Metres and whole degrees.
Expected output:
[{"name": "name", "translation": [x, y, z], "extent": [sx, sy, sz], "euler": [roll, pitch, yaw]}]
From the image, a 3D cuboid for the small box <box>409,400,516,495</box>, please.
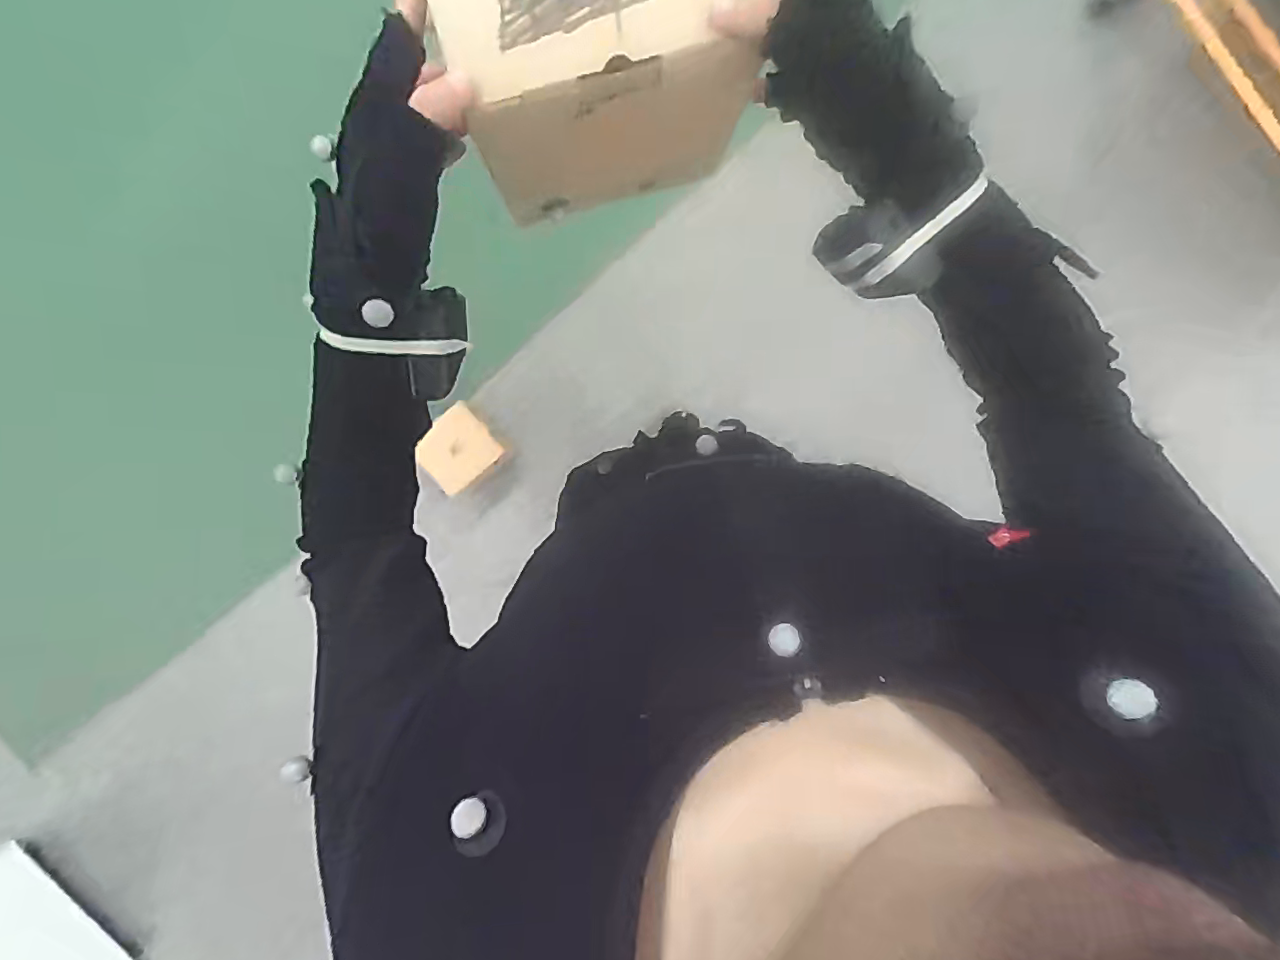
[{"name": "small box", "translation": [-0.440, -0.081, 1.377], "extent": [0.179, 0.176, 0.168], "euler": [-41, 95, 1]}]
